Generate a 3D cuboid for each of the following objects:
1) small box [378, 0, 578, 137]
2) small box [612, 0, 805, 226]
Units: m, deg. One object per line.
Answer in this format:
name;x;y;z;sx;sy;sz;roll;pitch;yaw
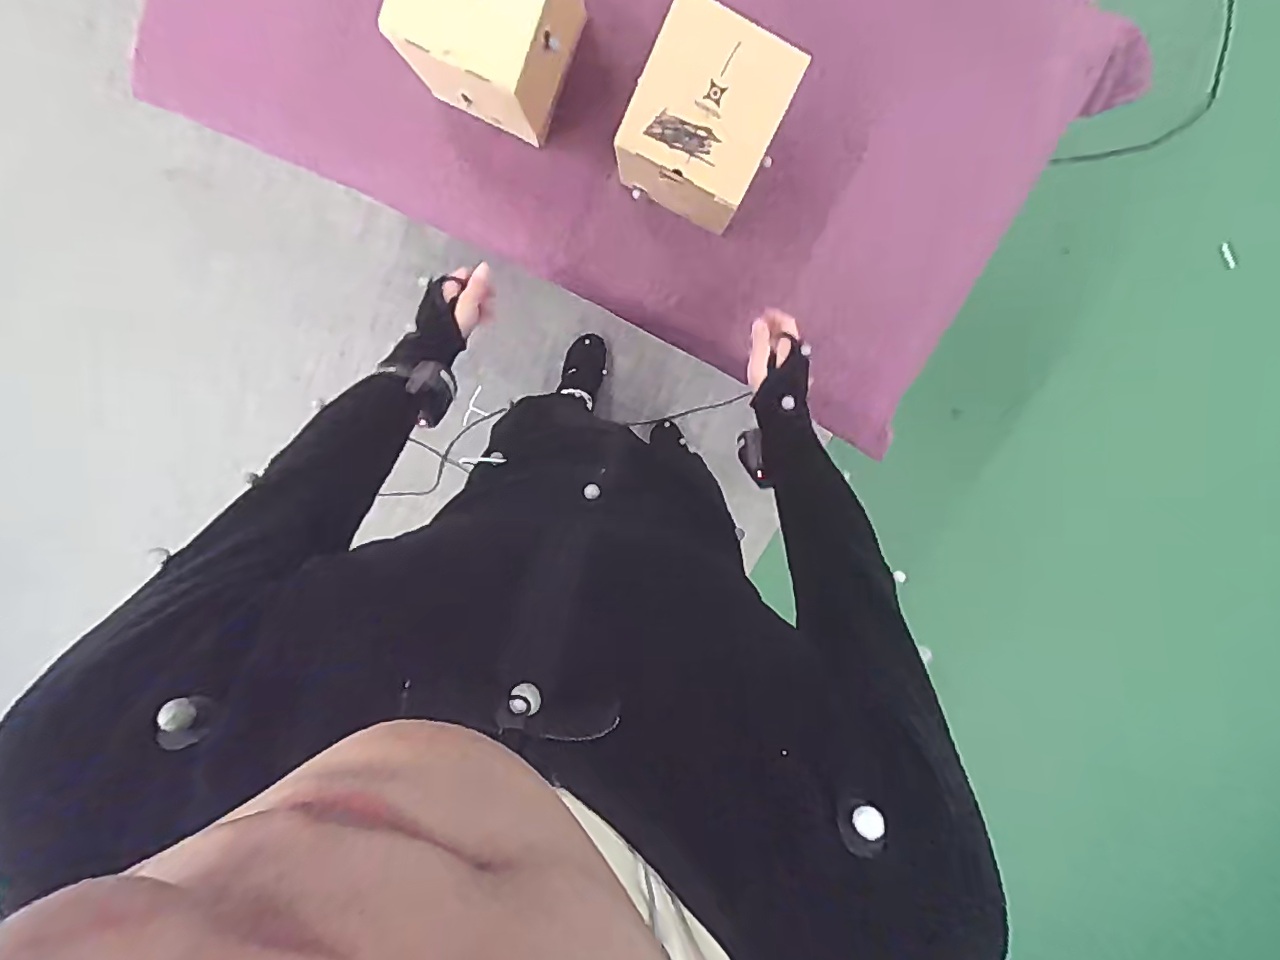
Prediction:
small box;-0.183;-0.571;0.664;0.168;0.176;0.179;23;104;-6
small box;0.080;-0.453;0.691;0.168;0.176;0.179;25;105;-5
